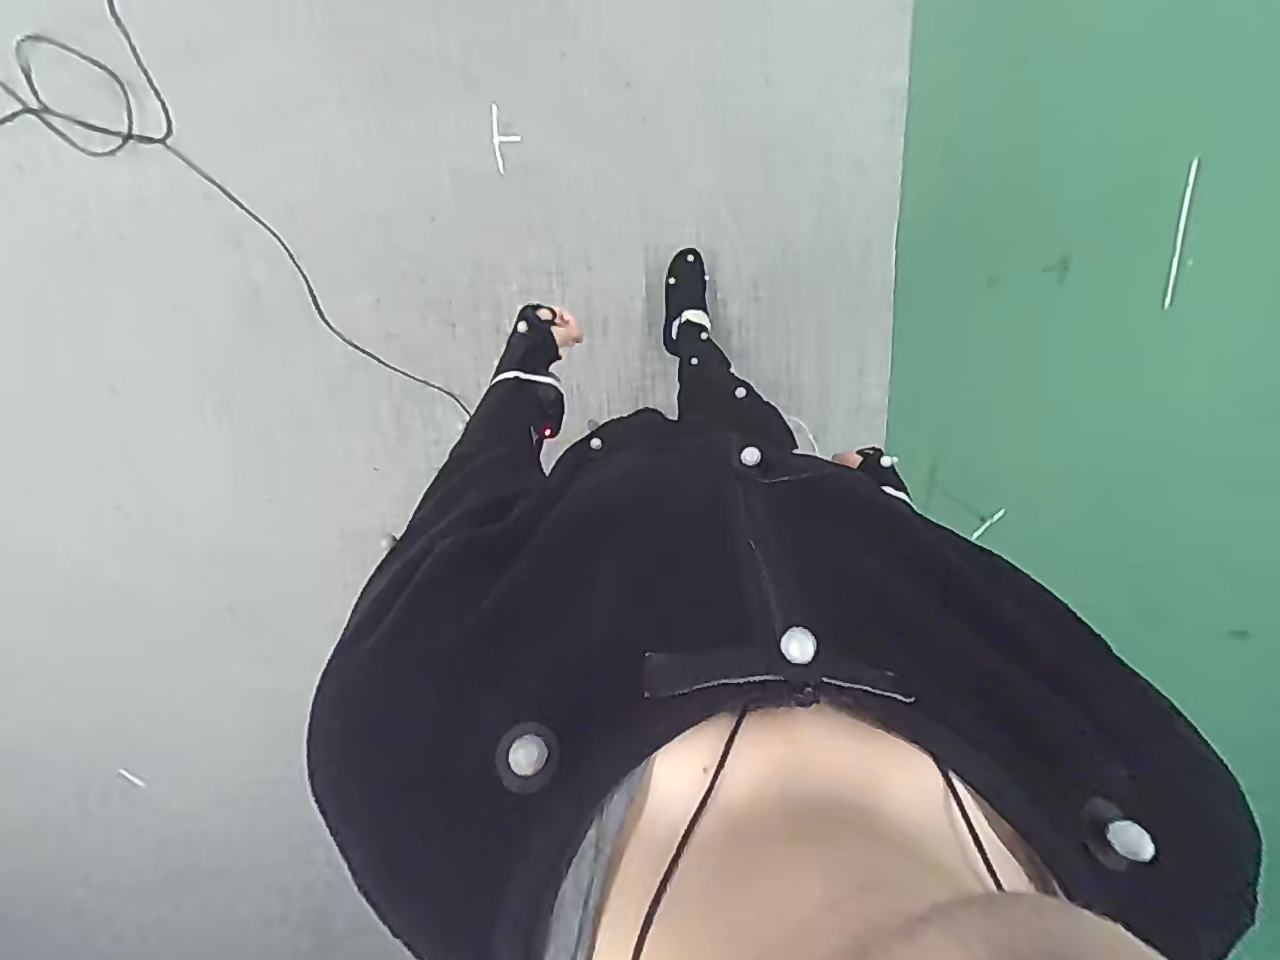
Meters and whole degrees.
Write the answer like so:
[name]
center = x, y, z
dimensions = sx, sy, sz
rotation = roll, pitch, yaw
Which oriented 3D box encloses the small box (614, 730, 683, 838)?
[small box]
center = 0.019, 0.791, 1.415
dimensions = 0.168, 0.176, 0.179
rotation = -4, 104, -4
